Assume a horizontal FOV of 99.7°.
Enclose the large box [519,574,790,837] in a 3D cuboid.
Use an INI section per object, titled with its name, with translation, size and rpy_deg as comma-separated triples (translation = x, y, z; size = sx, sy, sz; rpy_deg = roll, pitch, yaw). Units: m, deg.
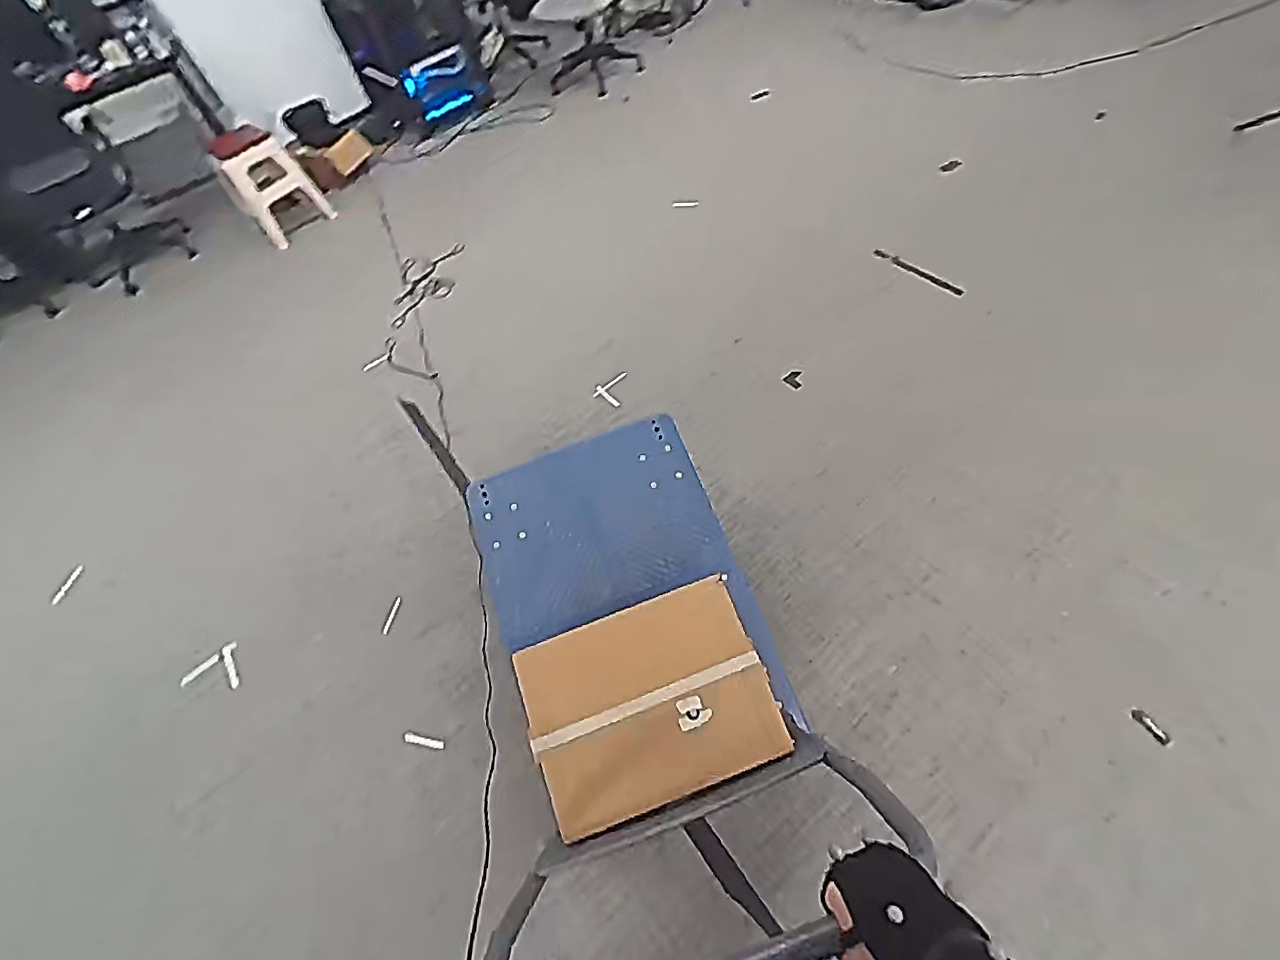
[large box]
translation = 0.024, 0.432, 1.082
size = 0.408, 0.320, 0.320
rpy_deg = -21, 70, -5
